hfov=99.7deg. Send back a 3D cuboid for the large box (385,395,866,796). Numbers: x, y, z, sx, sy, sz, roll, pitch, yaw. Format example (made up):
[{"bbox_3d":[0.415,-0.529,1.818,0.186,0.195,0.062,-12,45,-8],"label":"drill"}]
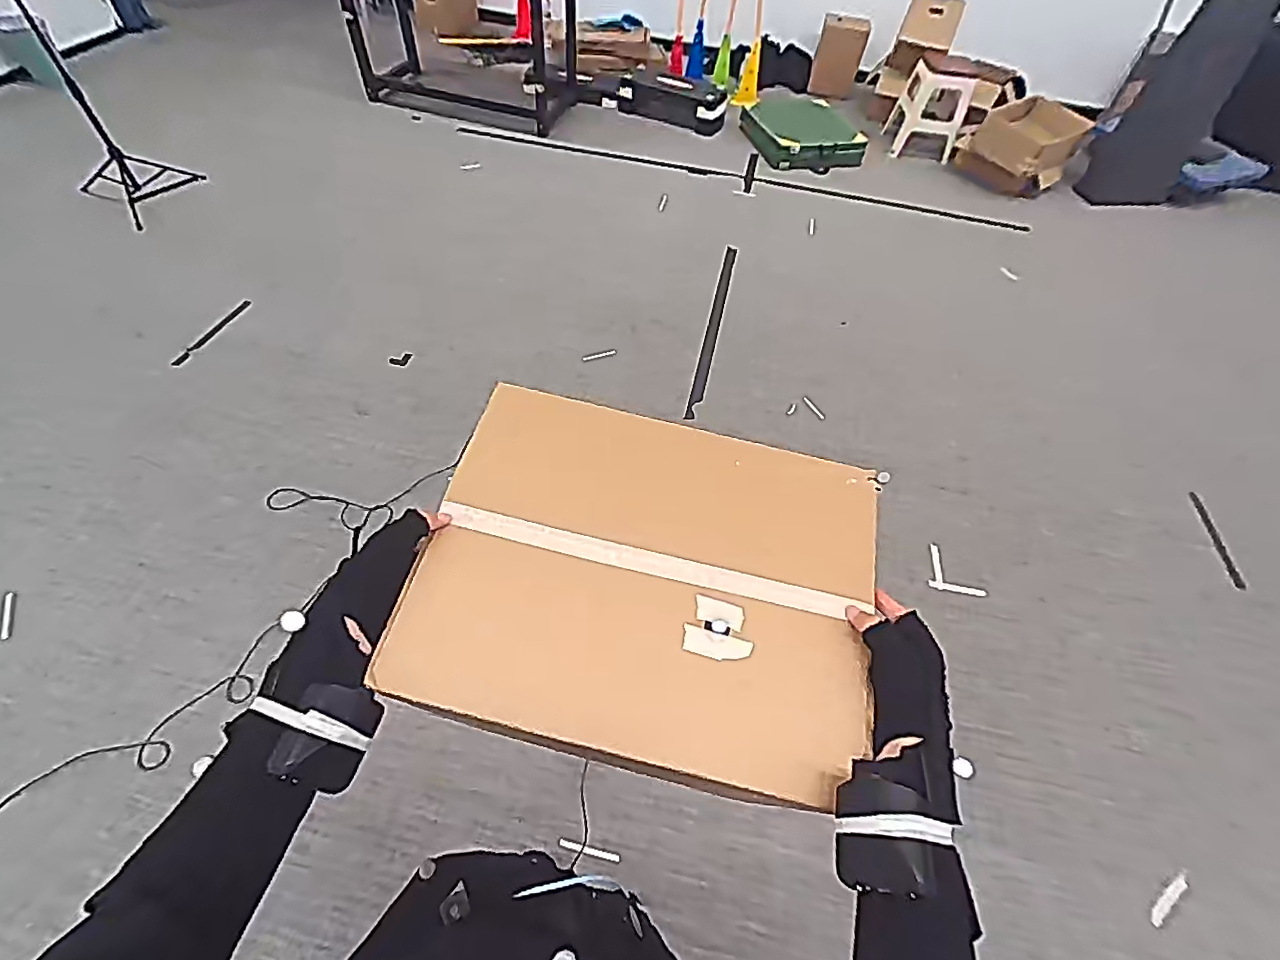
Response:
[{"bbox_3d":[-0.001,0.150,0.635,0.408,0.320,0.320,14,62,1],"label":"large box"}]
